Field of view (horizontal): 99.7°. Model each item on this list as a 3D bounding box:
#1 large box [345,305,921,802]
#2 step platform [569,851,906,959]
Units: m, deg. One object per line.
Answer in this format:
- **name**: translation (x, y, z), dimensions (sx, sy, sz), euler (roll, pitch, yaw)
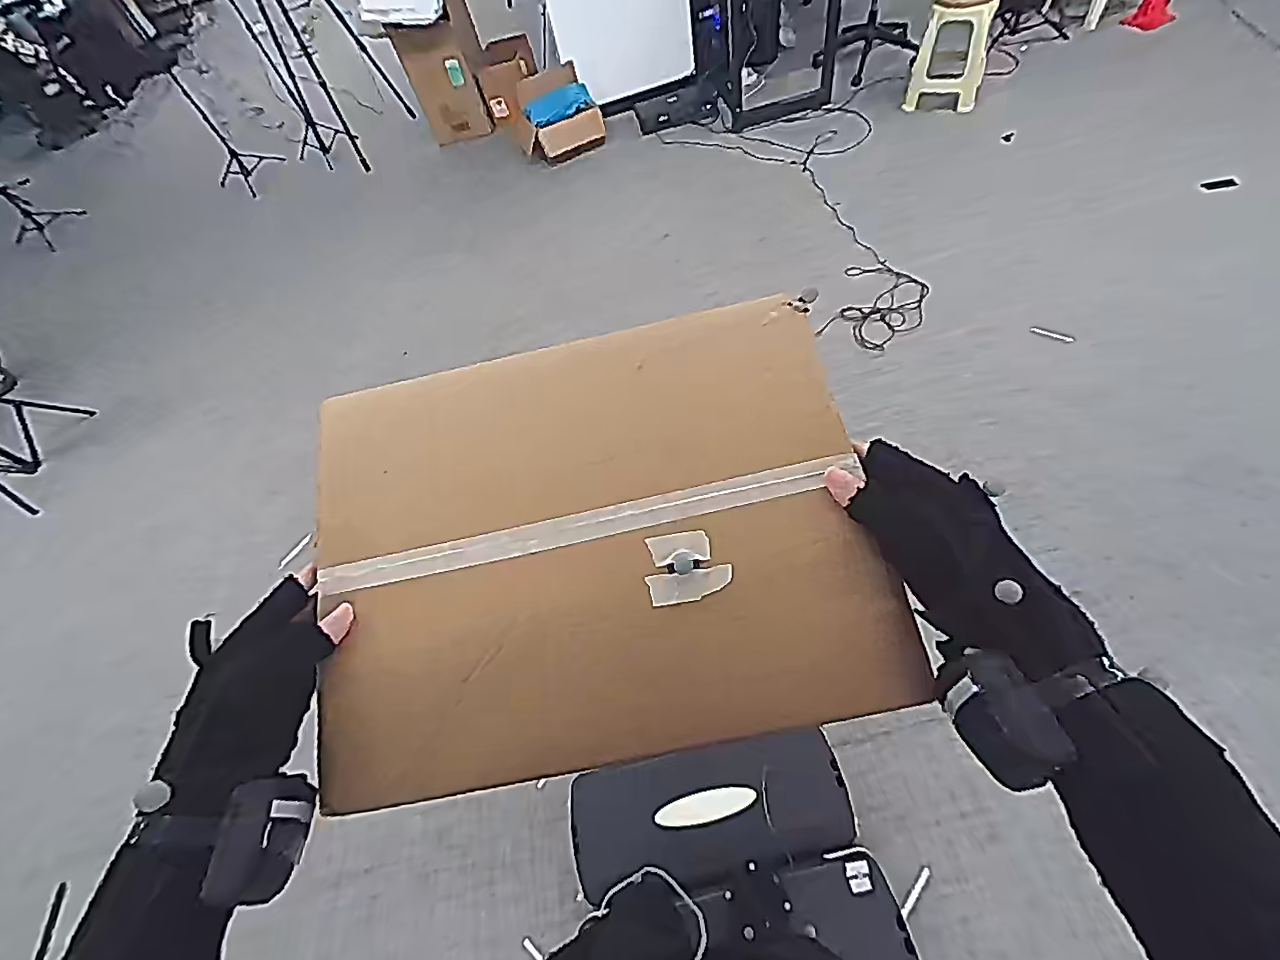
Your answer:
- **large box**: translation (-0.019, 0.085, 0.551), dimensions (0.408, 0.320, 0.320), euler (-13, 71, 3)
- **step platform**: translation (0.196, 1.016, 1.126), dimensions (0.684, 0.204, 0.286), euler (-17, 55, 3)
